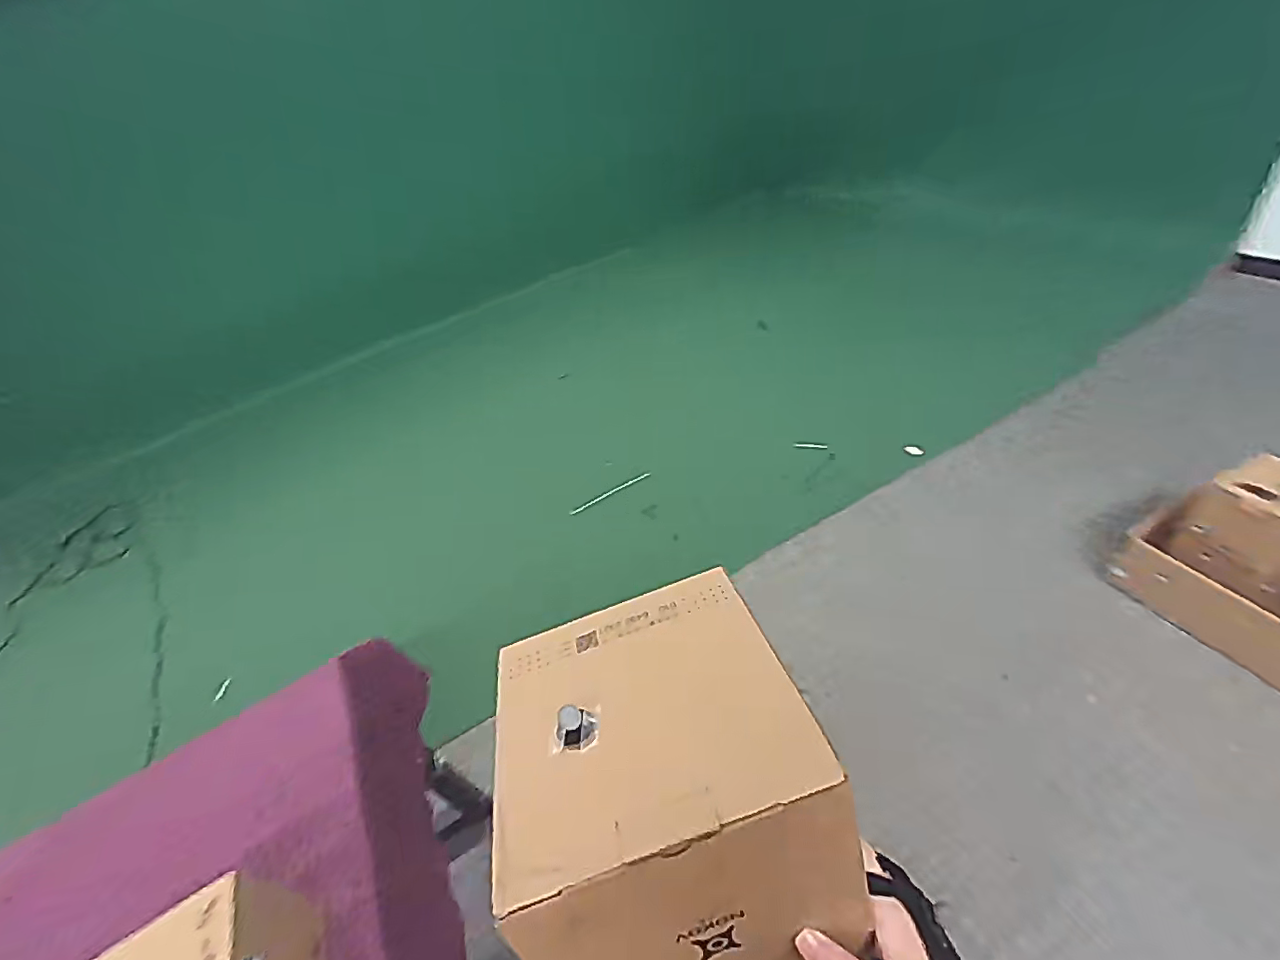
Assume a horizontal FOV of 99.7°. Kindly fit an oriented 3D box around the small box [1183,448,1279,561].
[{"bbox_3d":[1.452,0.060,1.276,0.179,0.176,0.168,-23,43,-8],"label":"small box"}]

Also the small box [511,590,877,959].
[{"bbox_3d":[0.025,0.193,0.344,0.168,0.179,0.176,-18,28,-2],"label":"small box"}]

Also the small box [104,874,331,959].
[{"bbox_3d":[-0.473,0.587,0.594,0.179,0.176,0.168,-31,45,-13],"label":"small box"}]
